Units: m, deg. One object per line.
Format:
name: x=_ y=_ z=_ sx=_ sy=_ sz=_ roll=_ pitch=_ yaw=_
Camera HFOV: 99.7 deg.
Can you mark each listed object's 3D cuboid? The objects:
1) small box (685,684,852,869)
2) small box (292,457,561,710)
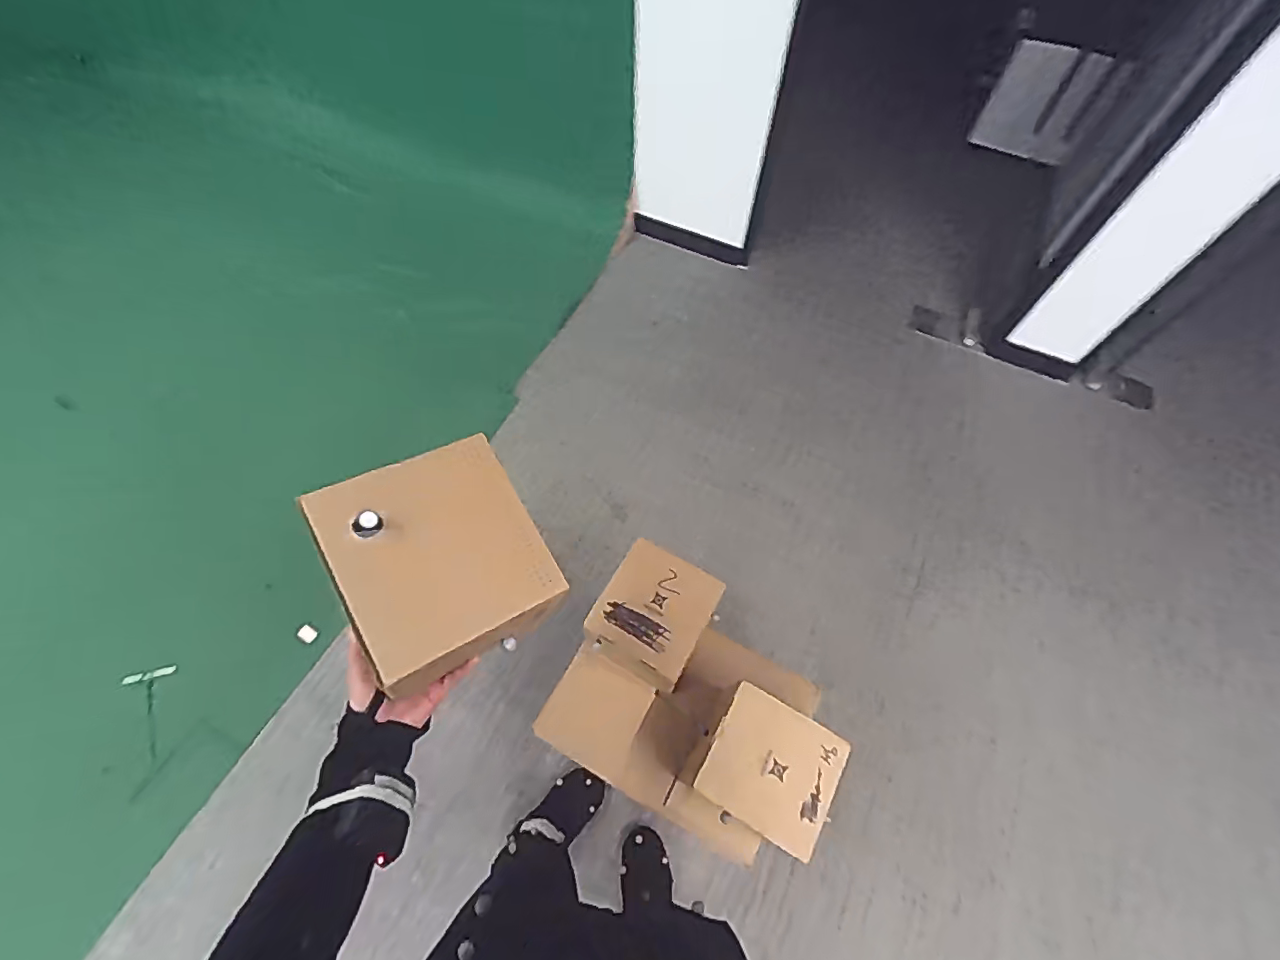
small box: x=0.180 y=0.437 z=0.812 sx=0.179 sy=0.176 sz=0.168 roll=29 pitch=66 yaw=14
small box: x=-0.202 y=0.096 z=0.530 sx=0.176 sy=0.168 sz=0.179 roll=-26 pitch=76 yaw=-29
